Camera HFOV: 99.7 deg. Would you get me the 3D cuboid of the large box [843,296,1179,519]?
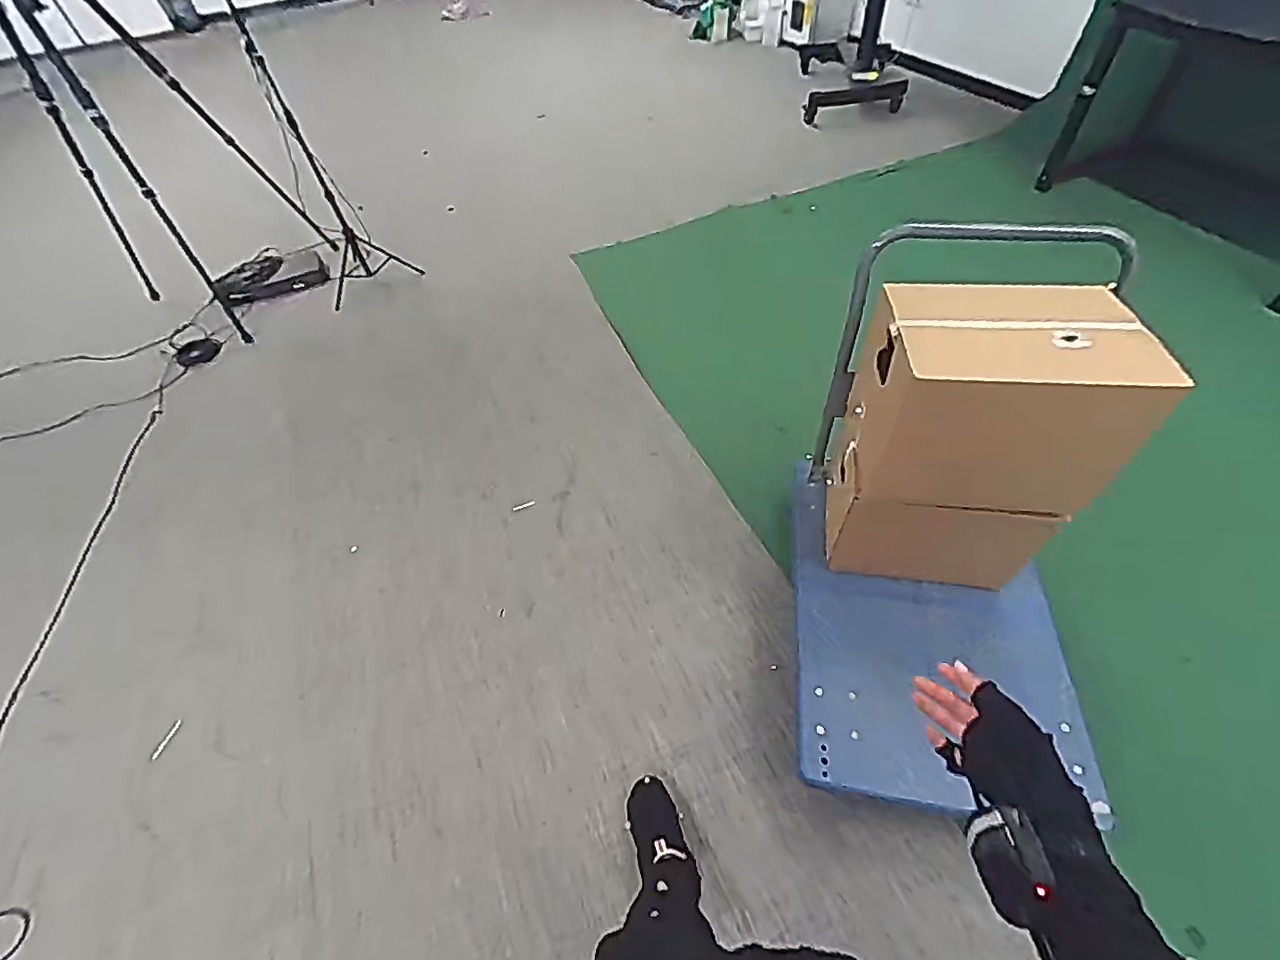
[{"bbox_3d":[0.654,-0.144,1.057,0.408,0.320,0.320,4,47,7],"label":"large box"}]
